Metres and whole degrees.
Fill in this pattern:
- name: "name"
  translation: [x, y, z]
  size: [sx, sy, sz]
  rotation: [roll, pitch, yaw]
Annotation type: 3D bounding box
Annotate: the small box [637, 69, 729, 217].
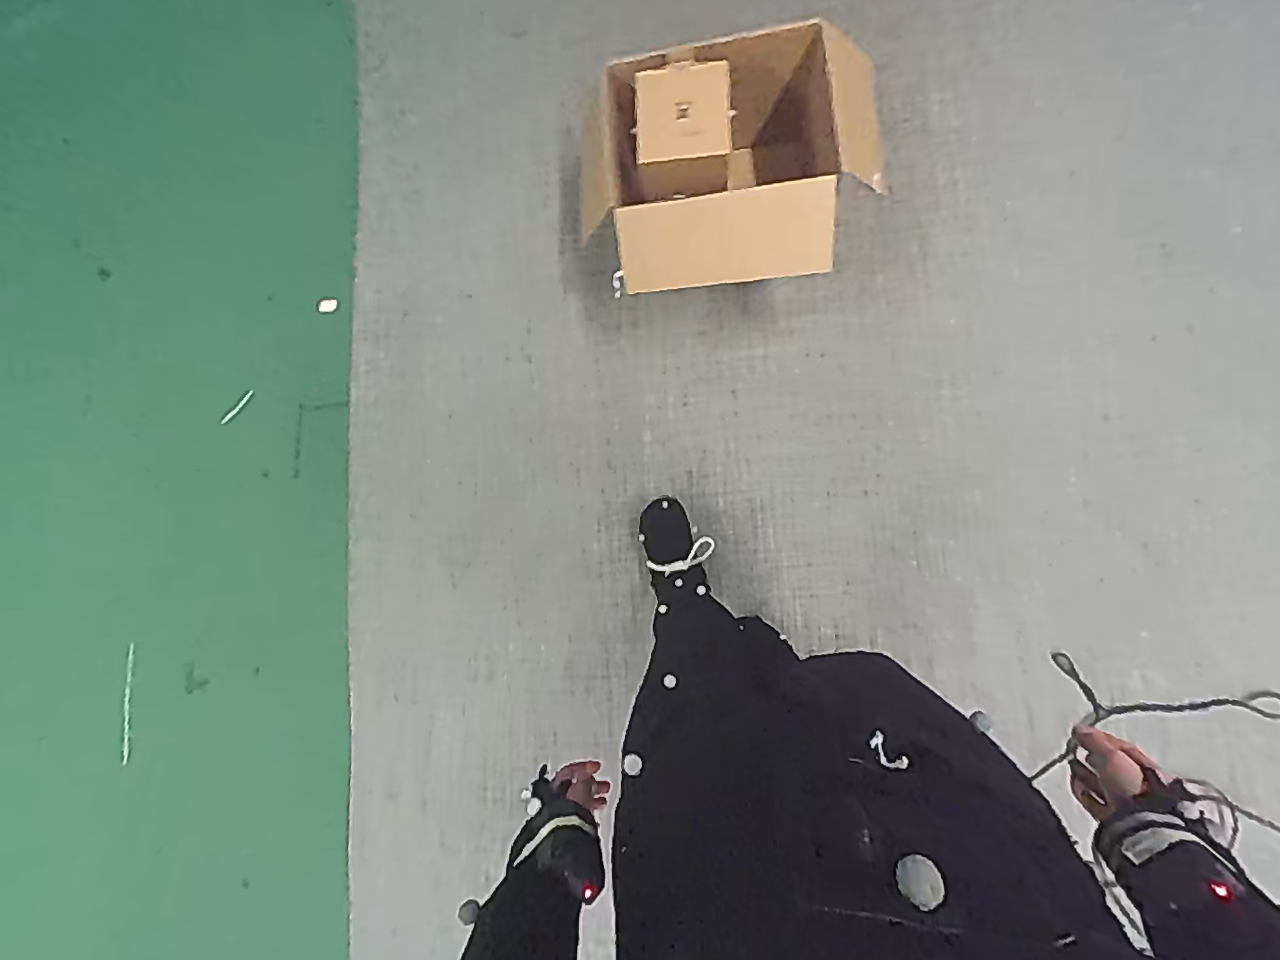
- name: "small box"
  translation: [0.085, -0.641, 1.047]
  size: [0.168, 0.176, 0.179]
  rotation: [-1, 86, 7]
